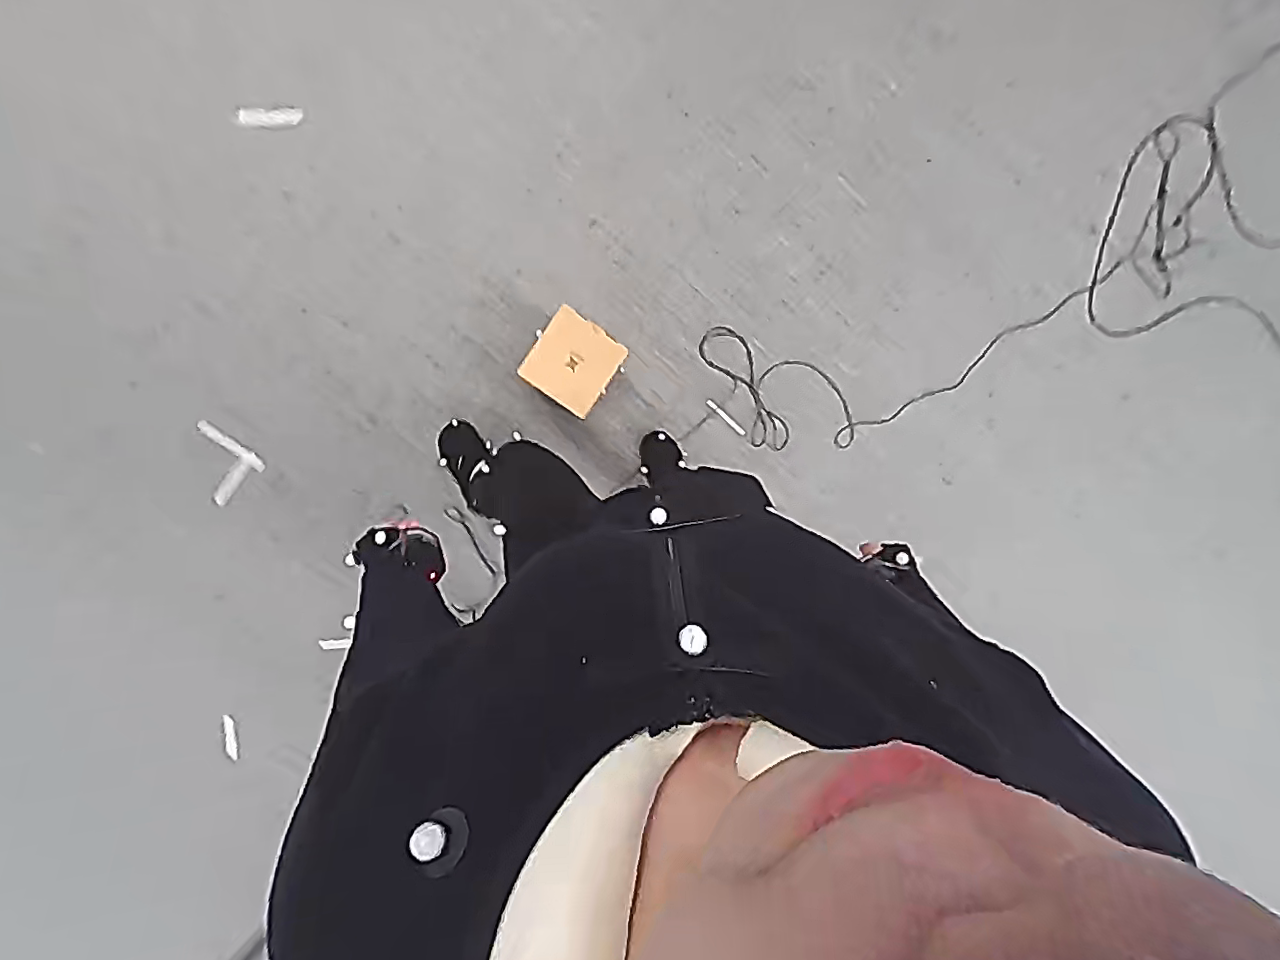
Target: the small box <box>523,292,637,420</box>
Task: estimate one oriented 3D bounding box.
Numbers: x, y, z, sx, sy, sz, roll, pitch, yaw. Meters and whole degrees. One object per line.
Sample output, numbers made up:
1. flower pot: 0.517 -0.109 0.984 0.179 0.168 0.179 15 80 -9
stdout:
1. small box: -0.123 -0.260 1.149 0.179 0.176 0.168 30 75 8
